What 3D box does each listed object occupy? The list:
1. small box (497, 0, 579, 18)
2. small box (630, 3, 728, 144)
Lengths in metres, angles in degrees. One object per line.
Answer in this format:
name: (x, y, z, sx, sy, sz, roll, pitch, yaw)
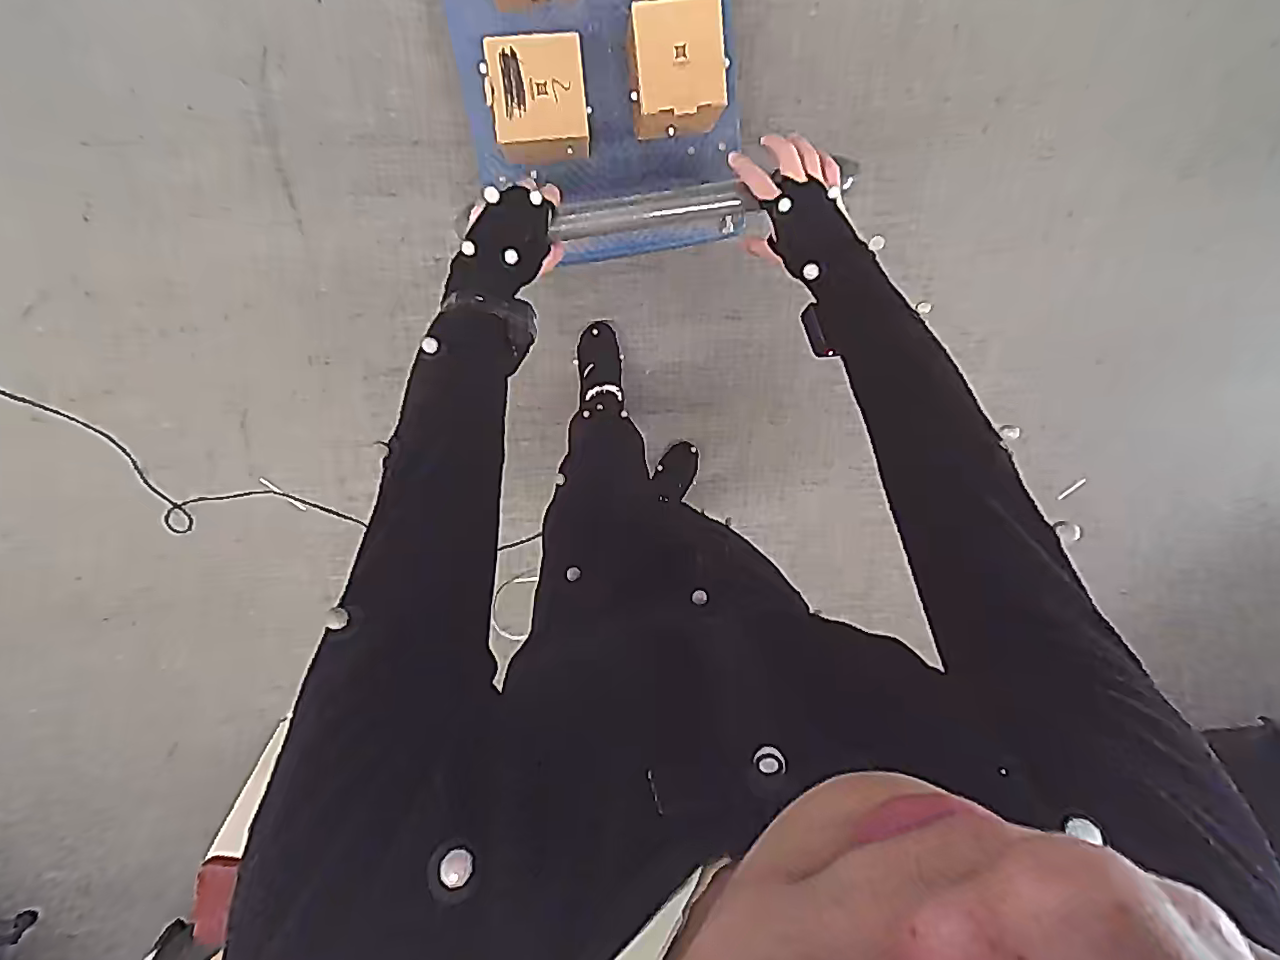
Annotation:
small box: (-0.211, -1.007, 1.007, 0.168, 0.176, 0.179, -13, 108, -1)
small box: (0.074, -0.810, 1.094, 0.168, 0.176, 0.179, -9, 109, -2)
